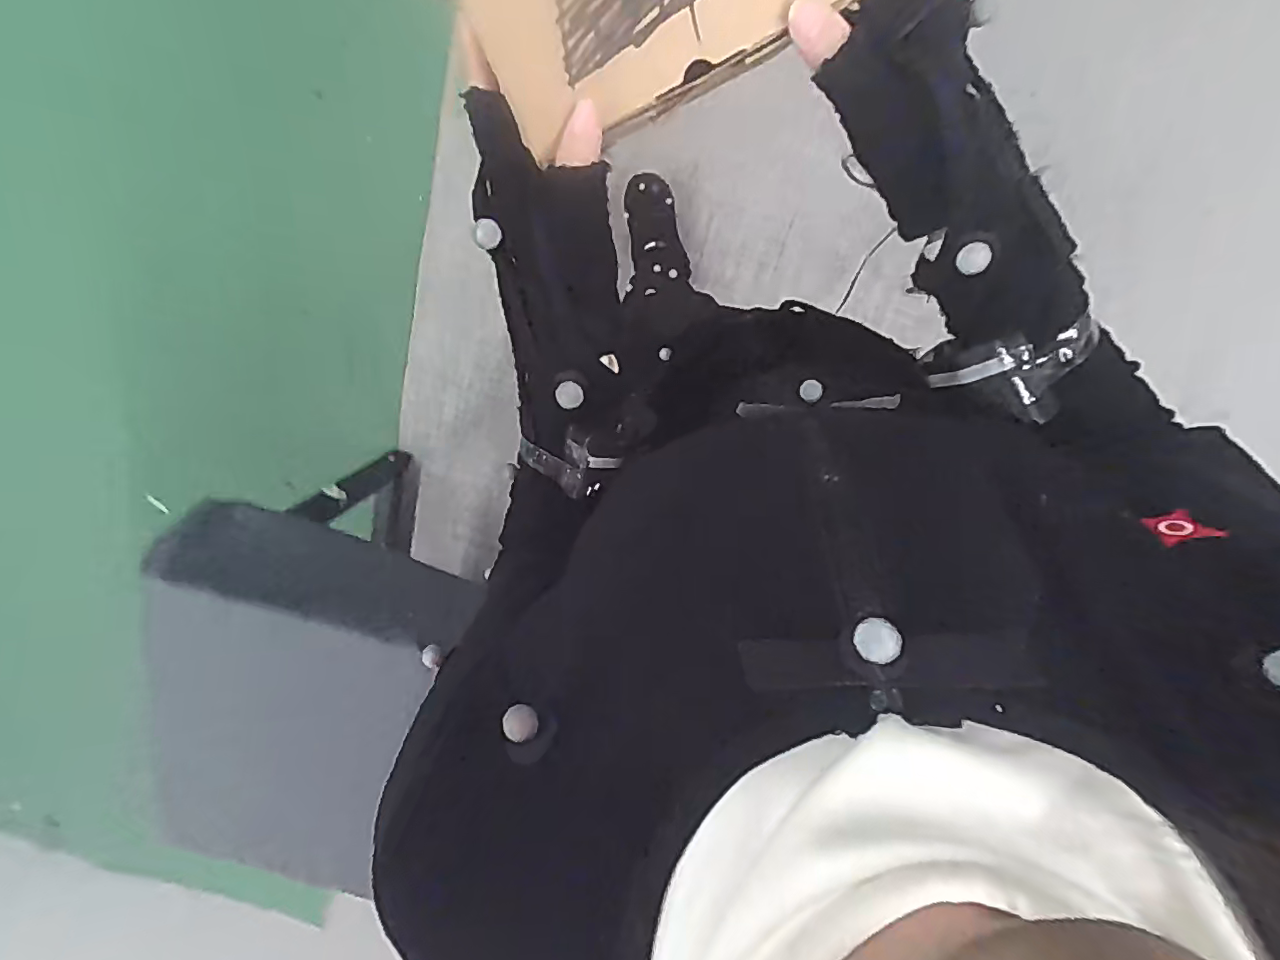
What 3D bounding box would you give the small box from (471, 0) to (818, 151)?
[{"bbox_3d":[-0.014,-0.299,0.275,0.168,0.176,0.179,-24,119,10],"label":"small box"}]
